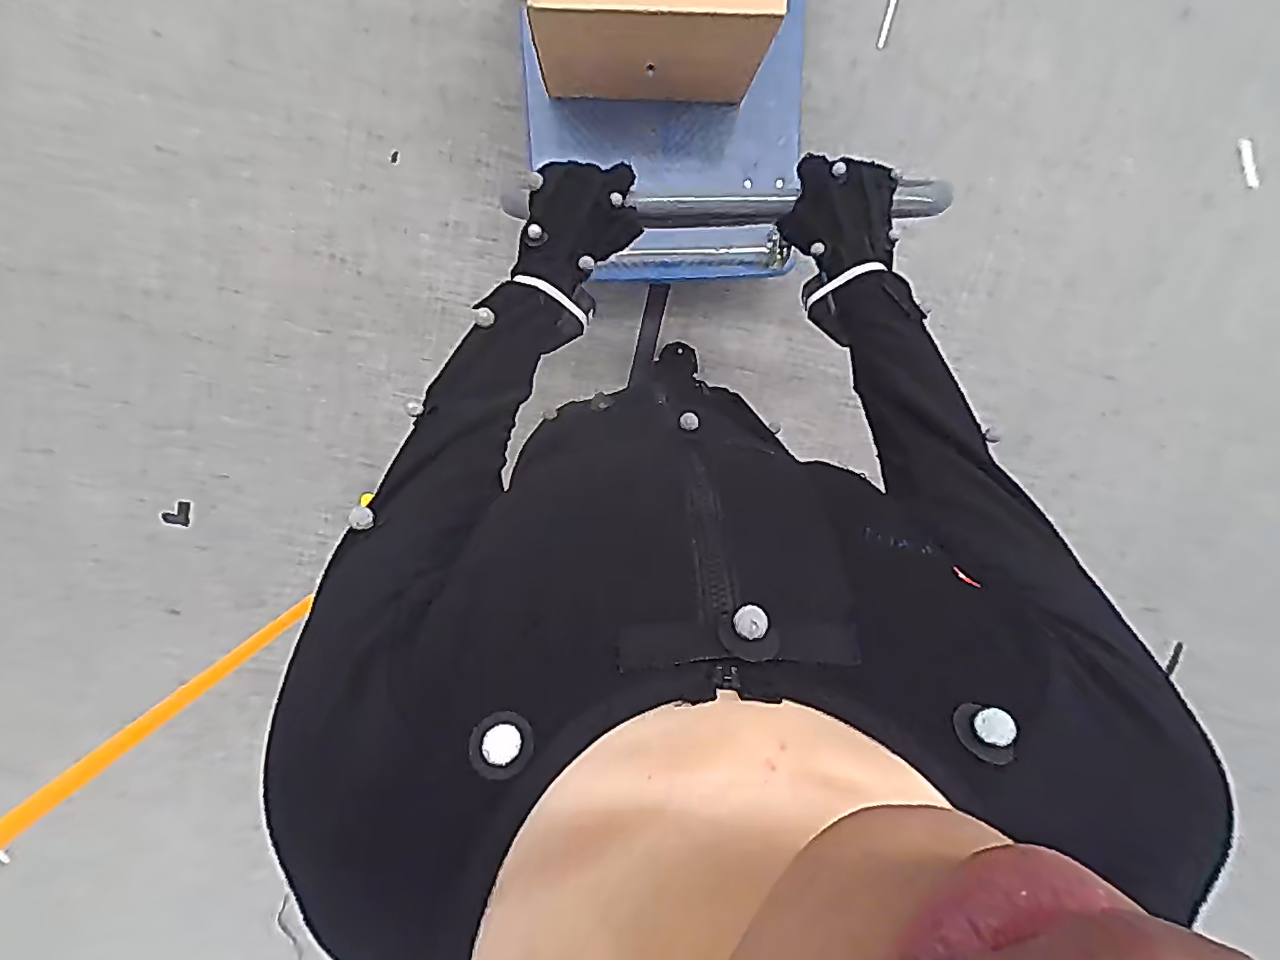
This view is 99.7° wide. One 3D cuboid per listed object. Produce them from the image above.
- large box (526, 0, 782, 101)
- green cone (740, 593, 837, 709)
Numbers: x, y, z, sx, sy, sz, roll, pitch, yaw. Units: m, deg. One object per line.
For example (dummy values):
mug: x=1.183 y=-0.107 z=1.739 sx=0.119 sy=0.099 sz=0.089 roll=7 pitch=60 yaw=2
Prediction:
large box: x=0.019 y=-0.901 z=0.948 sx=0.408 sy=0.320 sz=0.320 roll=0 pitch=103 yaw=-2
green cone: x=0.423 y=0.477 z=1.429 sx=0.202 sy=0.368 sz=0.200 roll=15 pitch=101 yaw=-7
